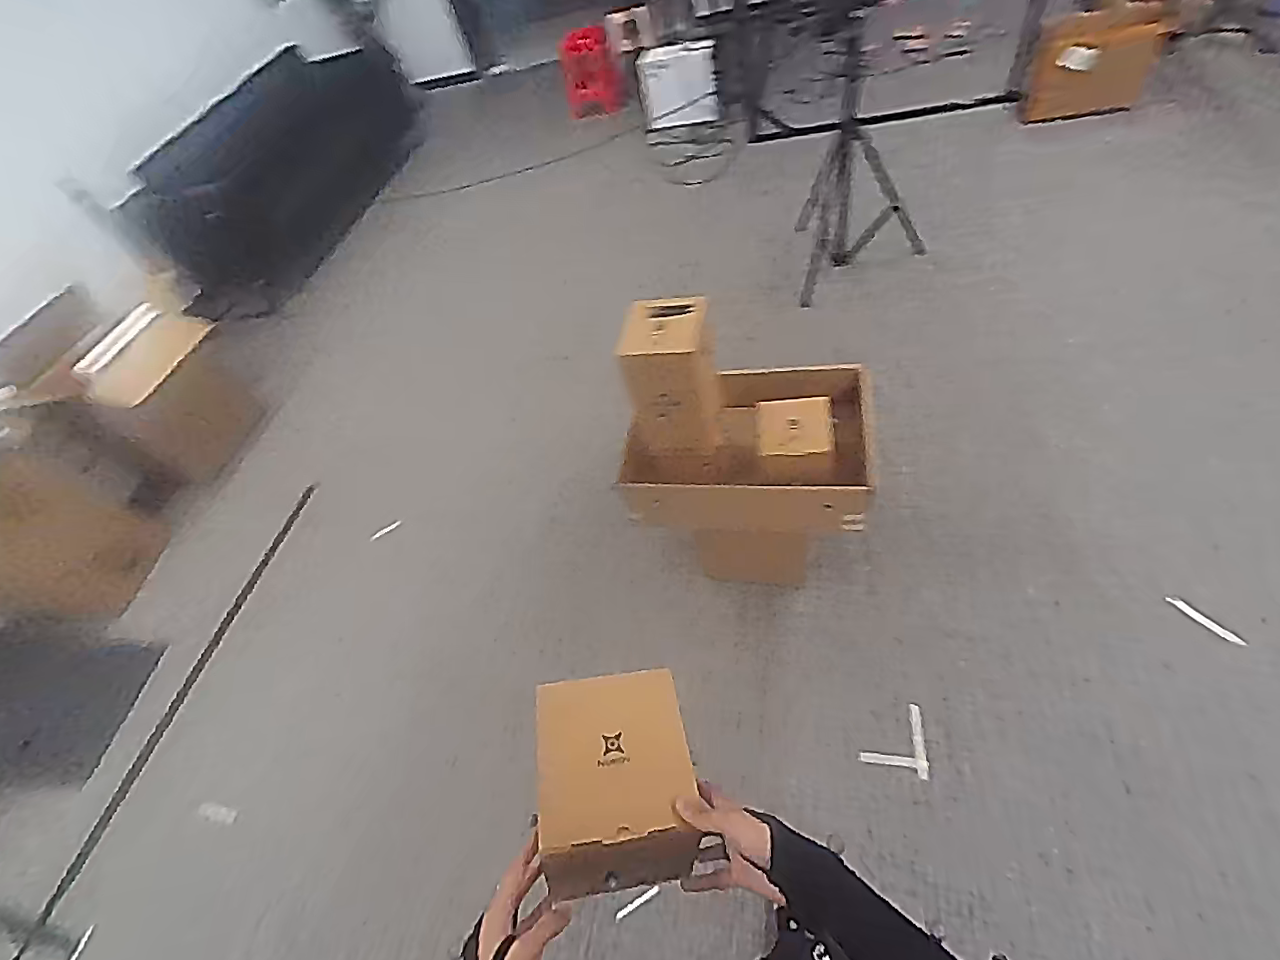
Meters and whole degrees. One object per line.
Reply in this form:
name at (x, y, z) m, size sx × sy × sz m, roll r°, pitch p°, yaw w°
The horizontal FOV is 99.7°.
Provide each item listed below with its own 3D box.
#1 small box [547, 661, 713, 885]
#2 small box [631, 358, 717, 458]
small box at (-0.023, 0.343, 0.641) m, size 0.168 × 0.176 × 0.179 m, roll -4°, pitch 42°, yaw -8°
small box at (0.090, -0.174, 1.314) m, size 0.168 × 0.176 × 0.179 m, roll 1°, pitch 53°, yaw 18°
